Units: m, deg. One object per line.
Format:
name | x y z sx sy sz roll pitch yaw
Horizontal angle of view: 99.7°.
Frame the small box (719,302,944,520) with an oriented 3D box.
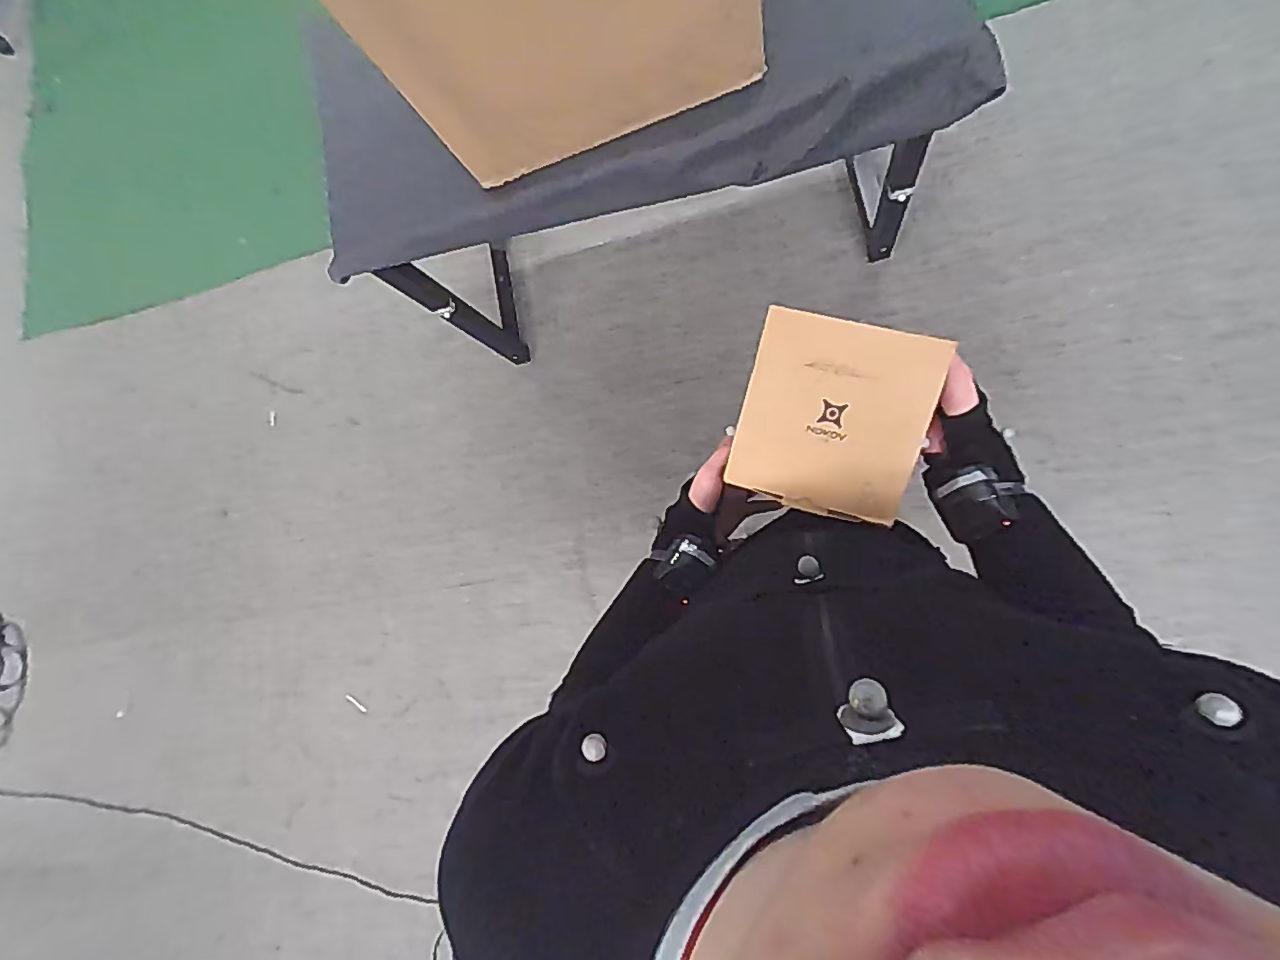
small box | 0.192 -0.078 0.583 0.168 0.176 0.179 15 103 10
